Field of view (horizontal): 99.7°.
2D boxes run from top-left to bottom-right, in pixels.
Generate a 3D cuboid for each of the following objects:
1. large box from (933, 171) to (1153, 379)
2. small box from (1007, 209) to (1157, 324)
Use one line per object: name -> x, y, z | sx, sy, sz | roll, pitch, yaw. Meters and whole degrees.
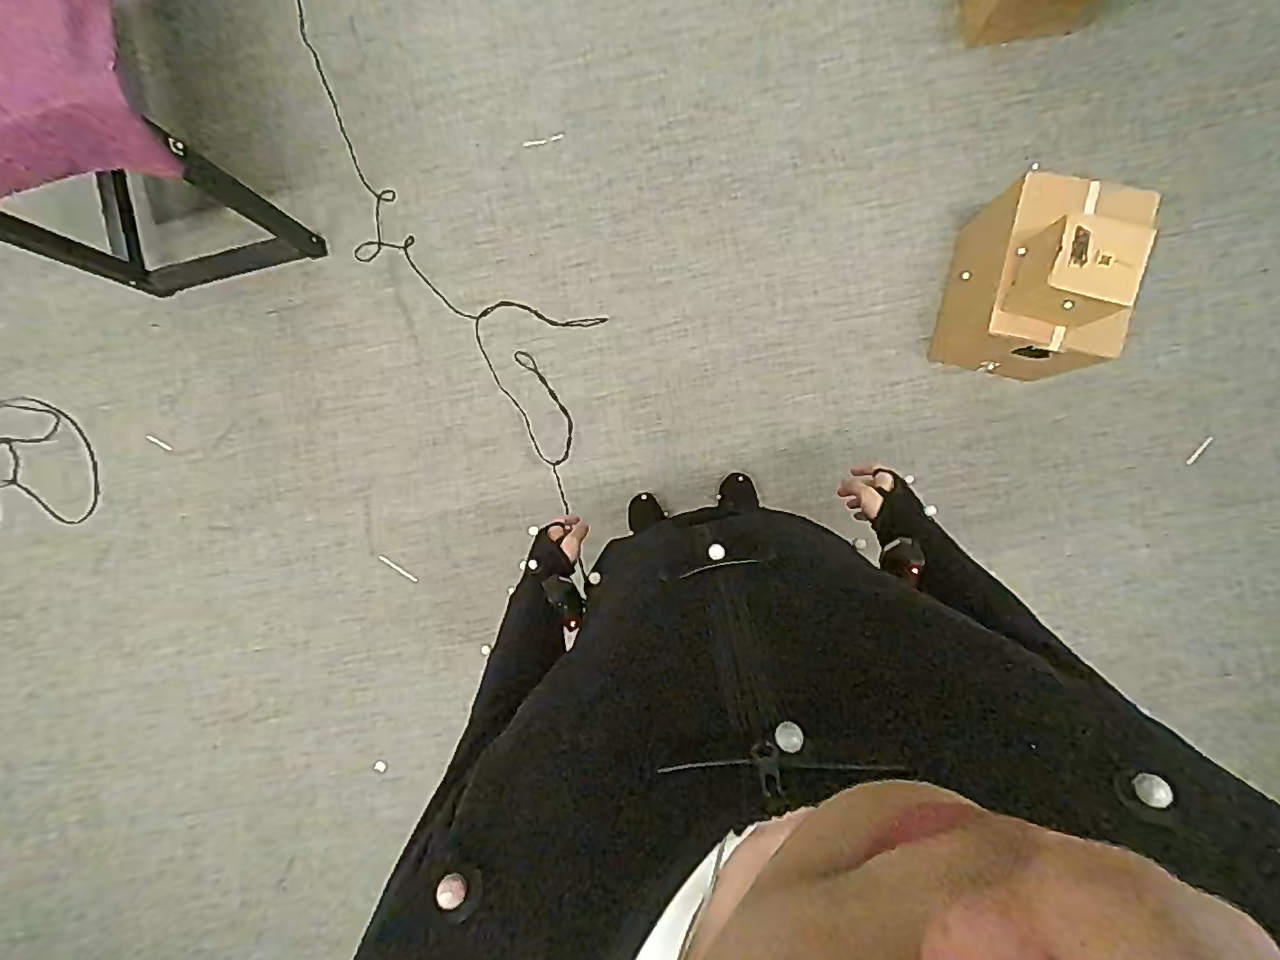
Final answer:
large box -> 1.034, -0.514, 1.434 | 0.320, 0.320, 0.408 | 13, 90, 3
small box -> 0.960, -0.460, 1.192 | 0.179, 0.176, 0.168 | 17, 92, 4
